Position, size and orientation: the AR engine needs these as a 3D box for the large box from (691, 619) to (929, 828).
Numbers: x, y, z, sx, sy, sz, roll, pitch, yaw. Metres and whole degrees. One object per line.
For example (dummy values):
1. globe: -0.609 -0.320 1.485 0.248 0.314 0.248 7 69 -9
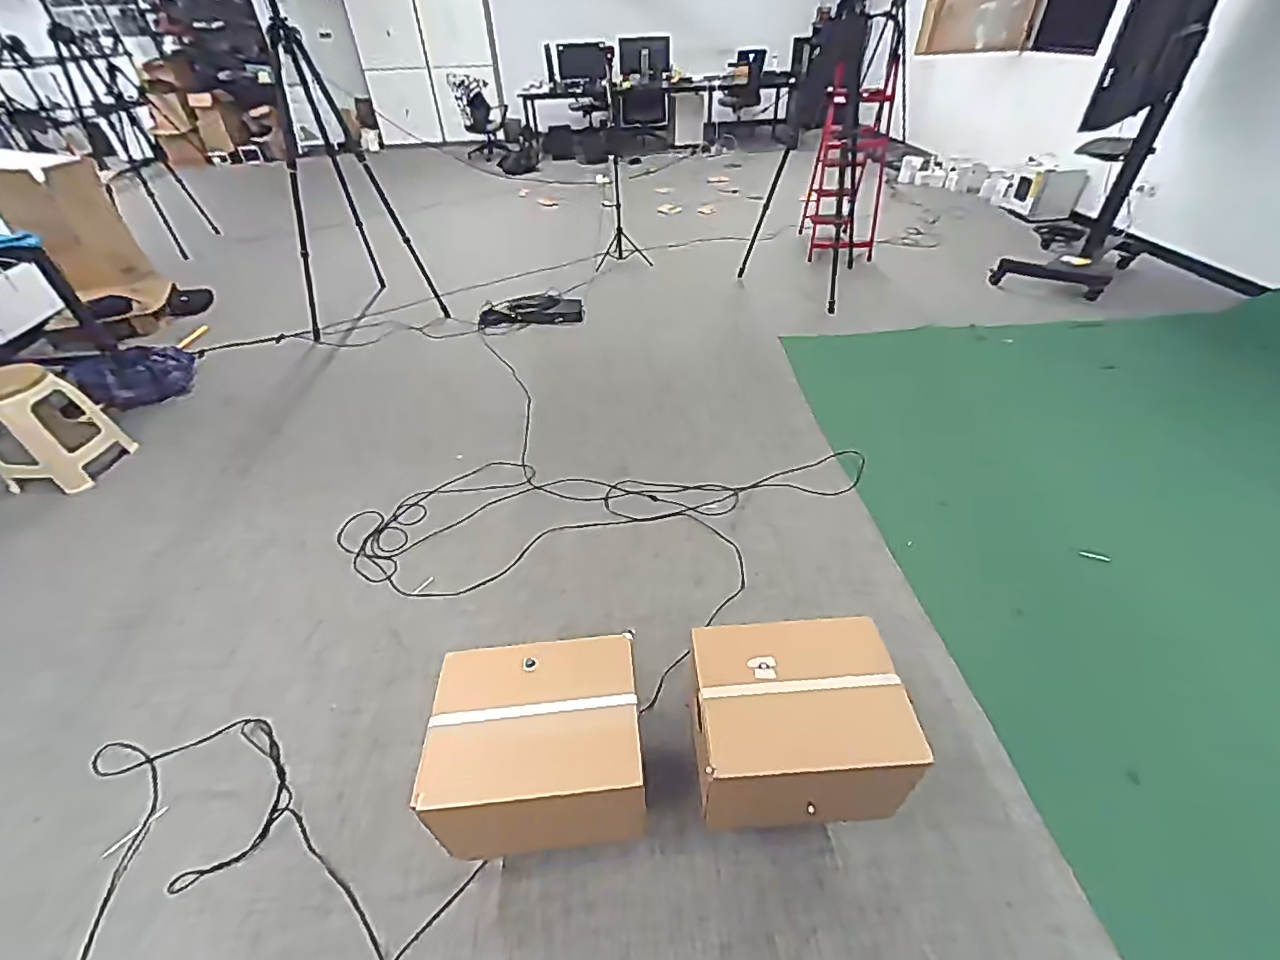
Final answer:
1. large box: 0.333 0.537 1.191 0.408 0.320 0.320 -4 41 0
